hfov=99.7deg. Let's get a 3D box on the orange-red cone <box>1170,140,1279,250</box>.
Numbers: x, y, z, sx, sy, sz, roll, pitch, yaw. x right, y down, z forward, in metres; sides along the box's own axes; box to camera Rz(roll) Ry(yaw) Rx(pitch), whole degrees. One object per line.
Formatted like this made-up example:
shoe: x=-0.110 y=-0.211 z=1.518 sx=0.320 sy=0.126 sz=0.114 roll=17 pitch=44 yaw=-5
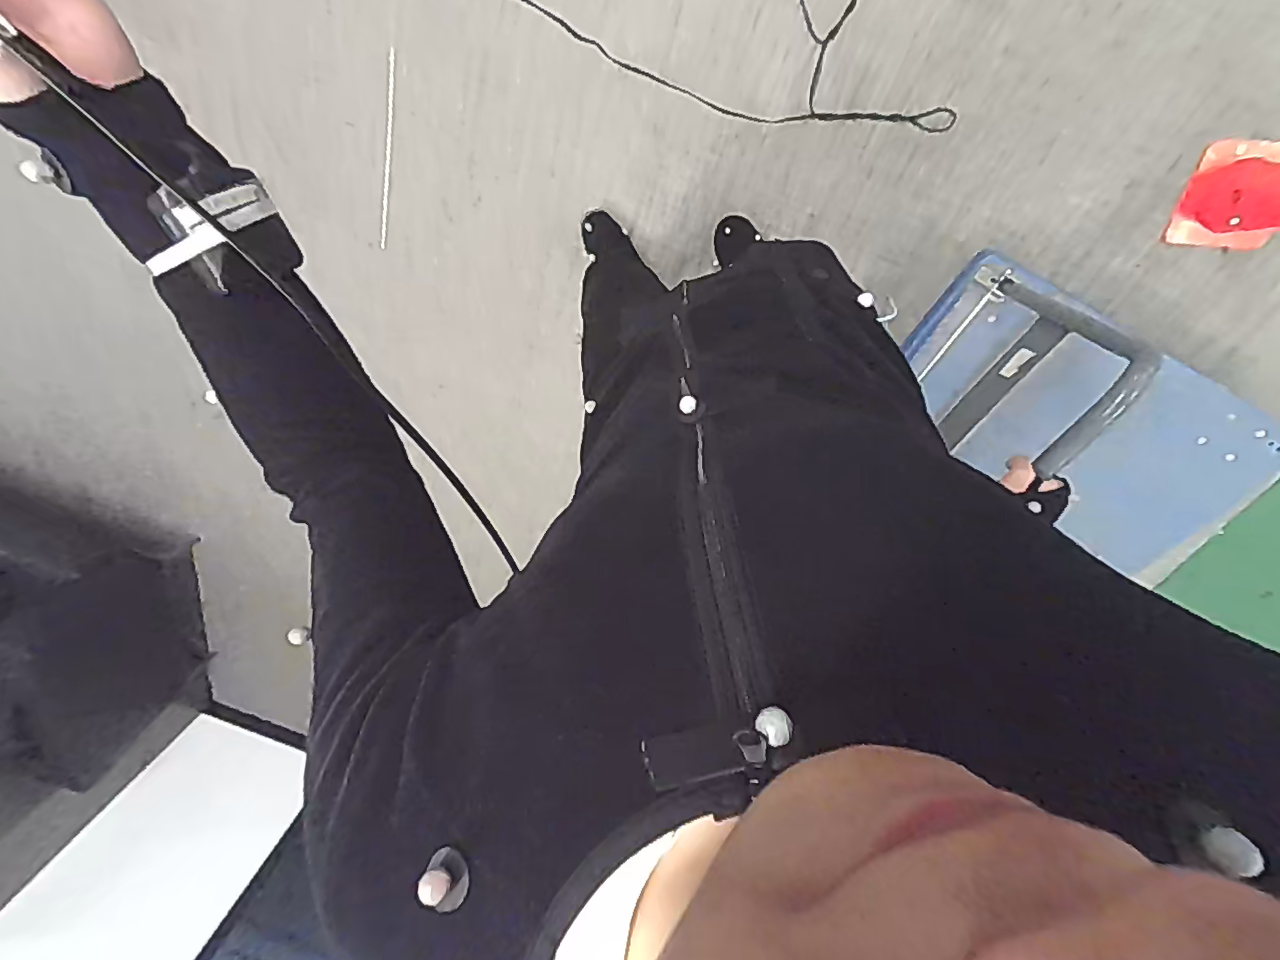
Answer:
orange-red cone: x=1.242 y=-0.521 z=0.999 sx=0.198 sy=0.360 sz=0.199 roll=9 pitch=119 yaw=7
